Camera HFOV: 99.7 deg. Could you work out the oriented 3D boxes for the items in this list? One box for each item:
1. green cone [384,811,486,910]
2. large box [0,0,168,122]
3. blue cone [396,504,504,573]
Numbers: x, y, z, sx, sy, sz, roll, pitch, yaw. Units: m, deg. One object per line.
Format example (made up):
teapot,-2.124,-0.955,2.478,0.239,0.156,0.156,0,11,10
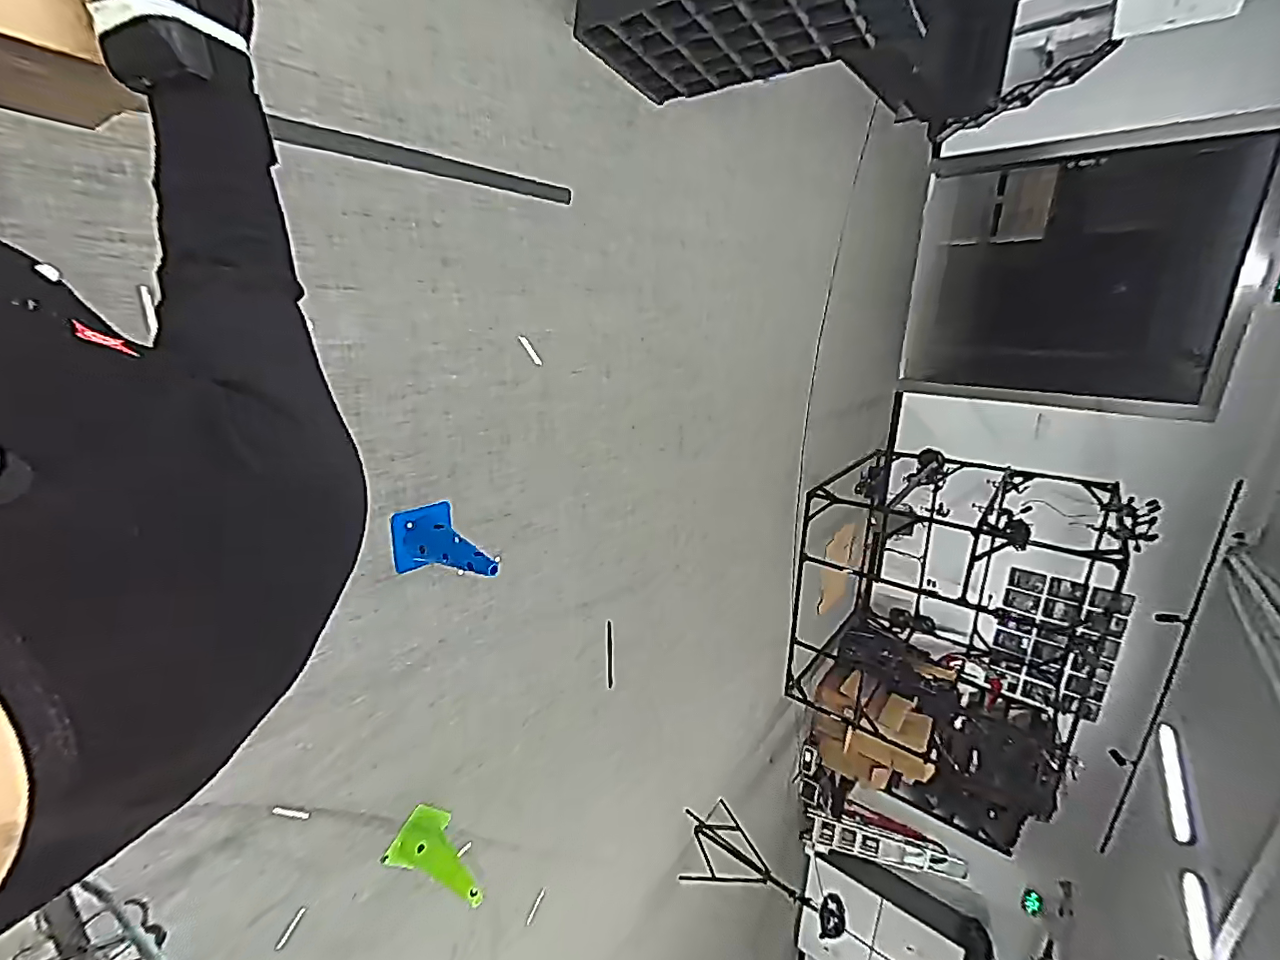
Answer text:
green cone,-0.650,1.322,1.822,0.202,0.368,0.200,-58,141,-26
large box,-0.567,-0.443,0.284,0.408,0.320,0.320,-14,117,-50
blue cone,-0.552,0.213,1.619,0.192,0.380,0.193,-16,114,-51
